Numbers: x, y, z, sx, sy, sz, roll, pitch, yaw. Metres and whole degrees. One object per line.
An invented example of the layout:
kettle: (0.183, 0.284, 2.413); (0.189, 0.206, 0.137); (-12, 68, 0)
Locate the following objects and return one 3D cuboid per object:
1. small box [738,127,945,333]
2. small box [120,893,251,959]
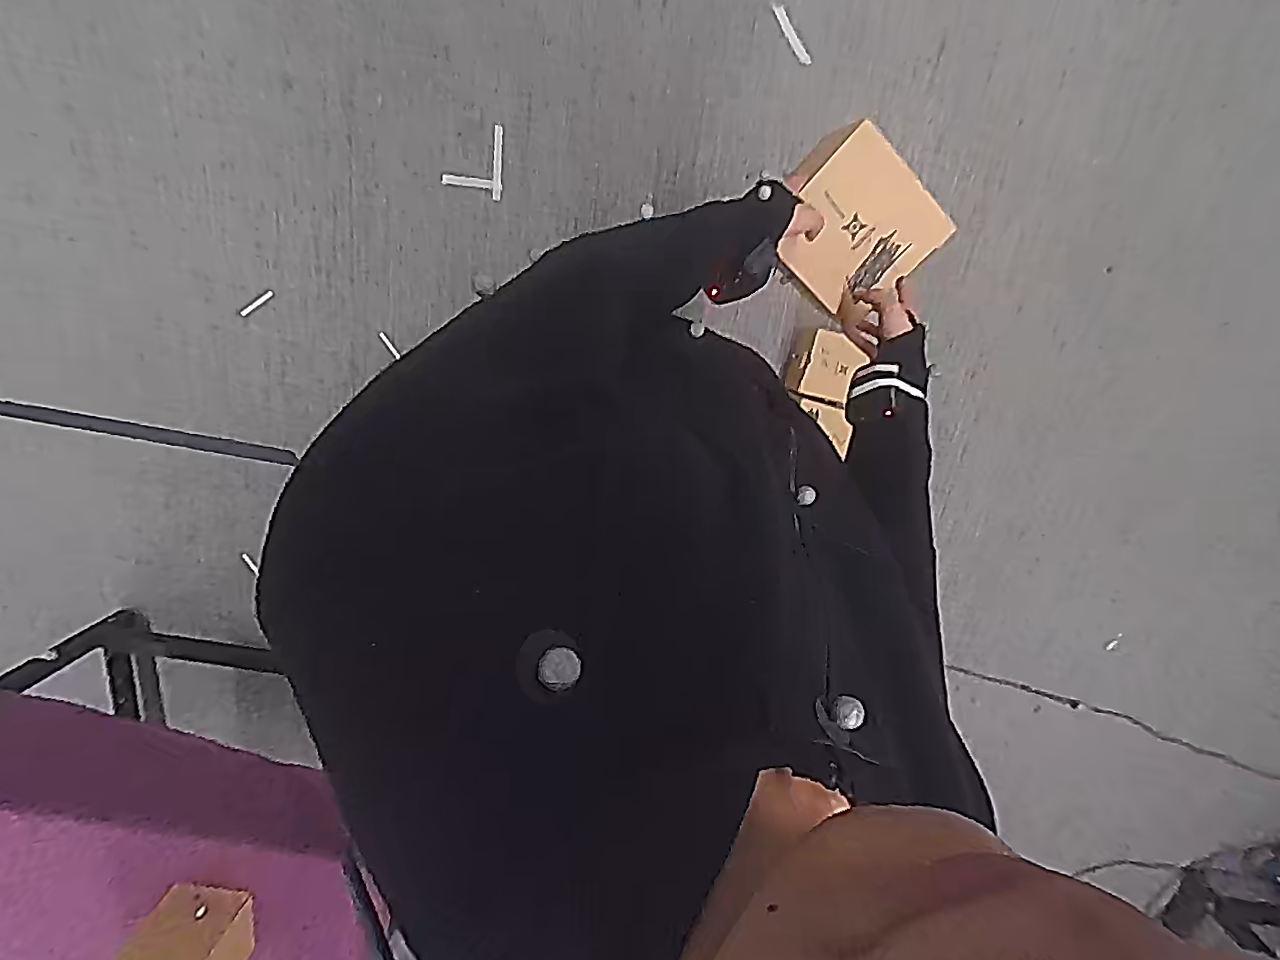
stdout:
small box: (0.256, -0.332, 0.730); (0.179, 0.176, 0.168); (38, 111, -15)
small box: (-0.954, 1.022, 1.133); (0.168, 0.176, 0.179); (9, 106, -1)
